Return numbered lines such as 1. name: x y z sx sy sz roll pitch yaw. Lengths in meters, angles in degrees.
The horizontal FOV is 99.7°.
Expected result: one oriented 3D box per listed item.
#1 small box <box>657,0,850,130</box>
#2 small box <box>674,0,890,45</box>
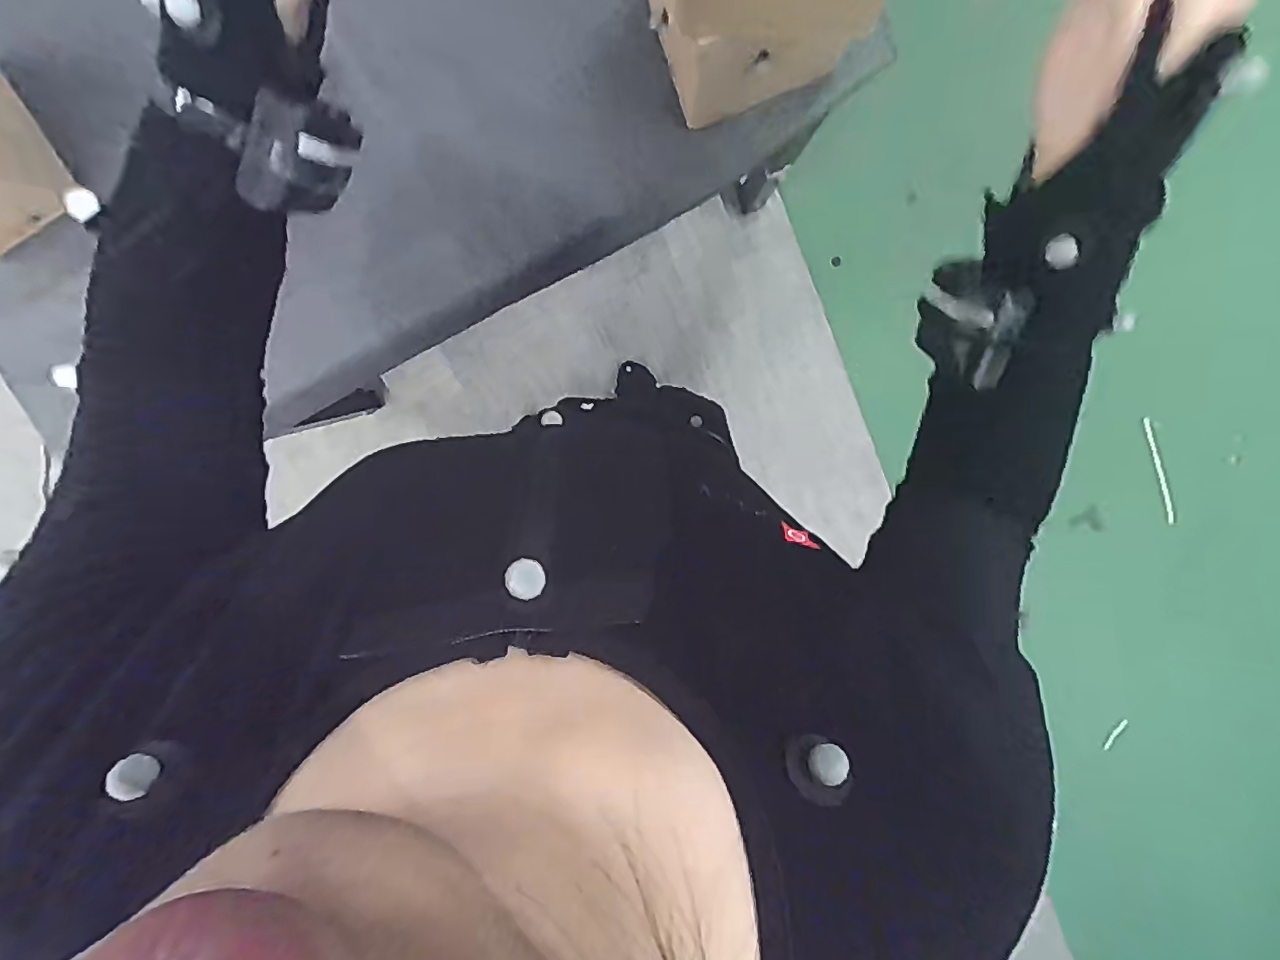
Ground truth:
1. small box: 0.112 -0.489 0.533 0.179 0.176 0.168 -19 100 8
2. small box: 0.113 -0.441 0.376 0.179 0.176 0.168 2 101 3
